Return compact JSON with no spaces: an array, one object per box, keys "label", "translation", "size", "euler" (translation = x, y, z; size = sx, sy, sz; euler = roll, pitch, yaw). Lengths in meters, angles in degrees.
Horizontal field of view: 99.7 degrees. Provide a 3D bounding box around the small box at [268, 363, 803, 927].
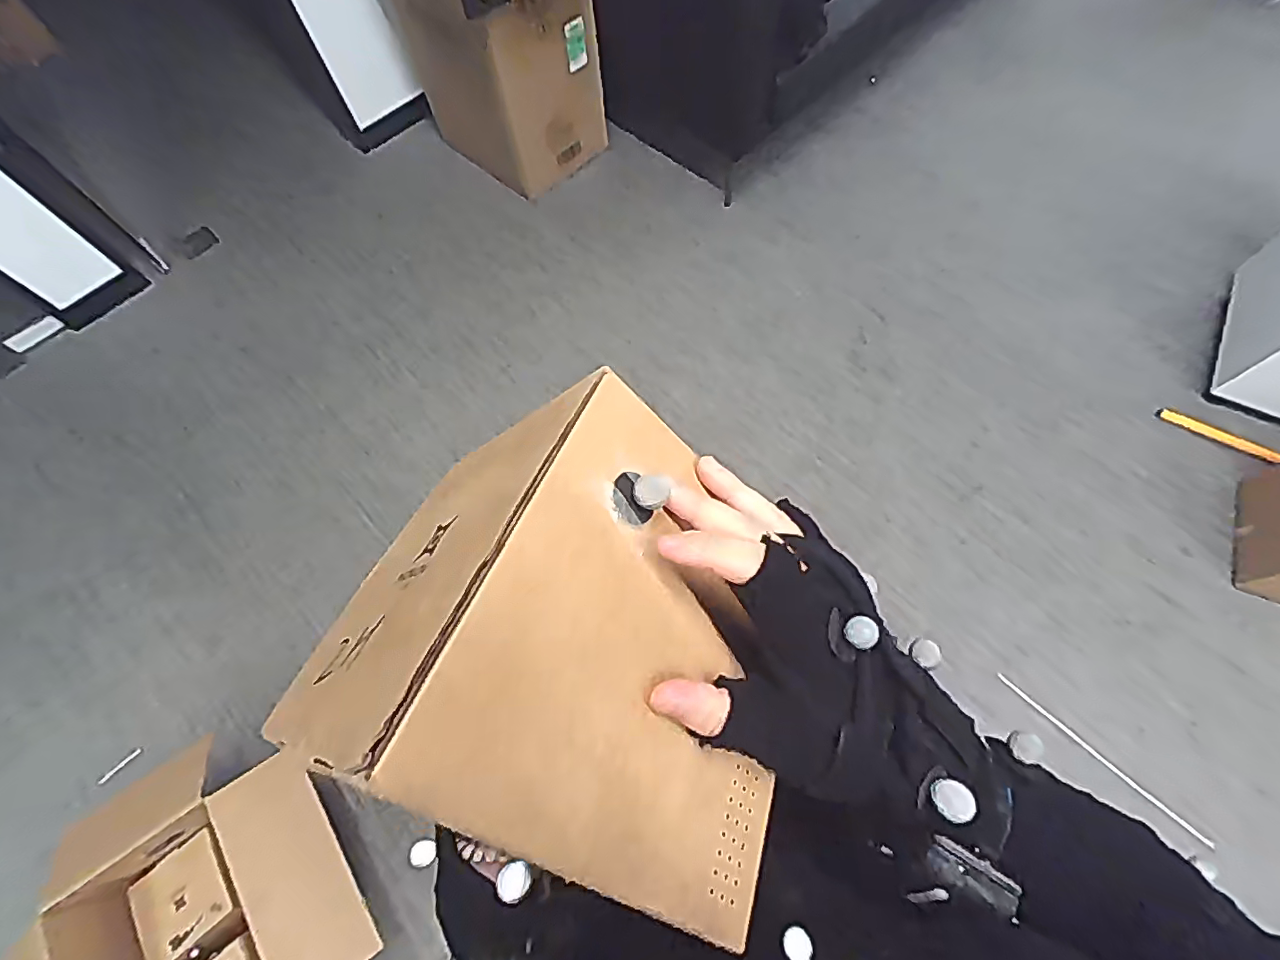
[{"label":"small box","translation":[-0.038,0.080,0.279],"size":[0.176,0.168,0.179],"euler":[42,51,-24]}]
